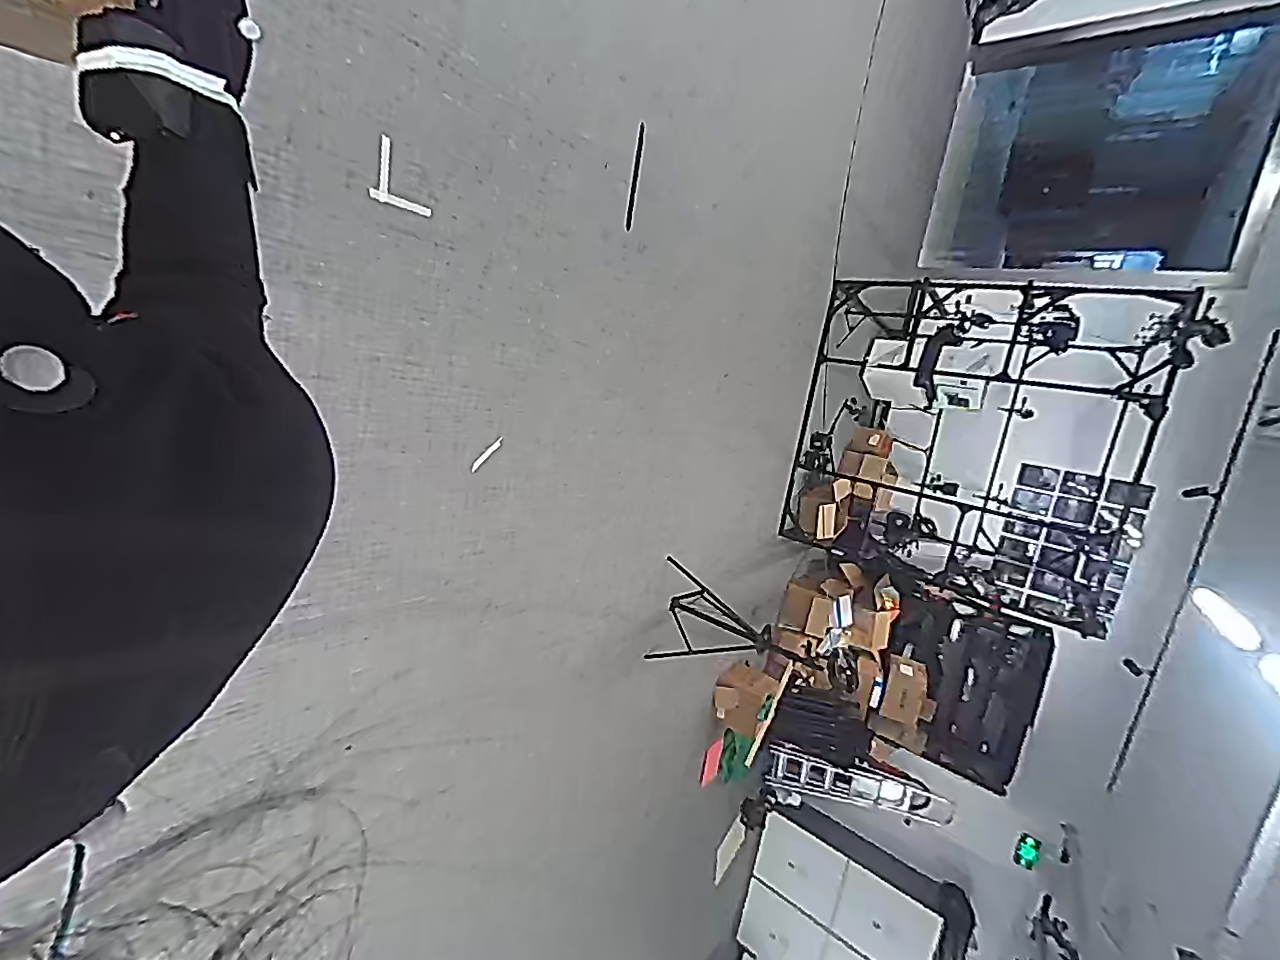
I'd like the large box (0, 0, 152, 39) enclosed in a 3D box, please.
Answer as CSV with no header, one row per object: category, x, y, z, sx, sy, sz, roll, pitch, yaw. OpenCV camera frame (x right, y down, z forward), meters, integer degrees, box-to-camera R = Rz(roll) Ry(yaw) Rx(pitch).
large box,-0.561,-0.502,0.268,0.408,0.320,0.320,-14,123,-52
